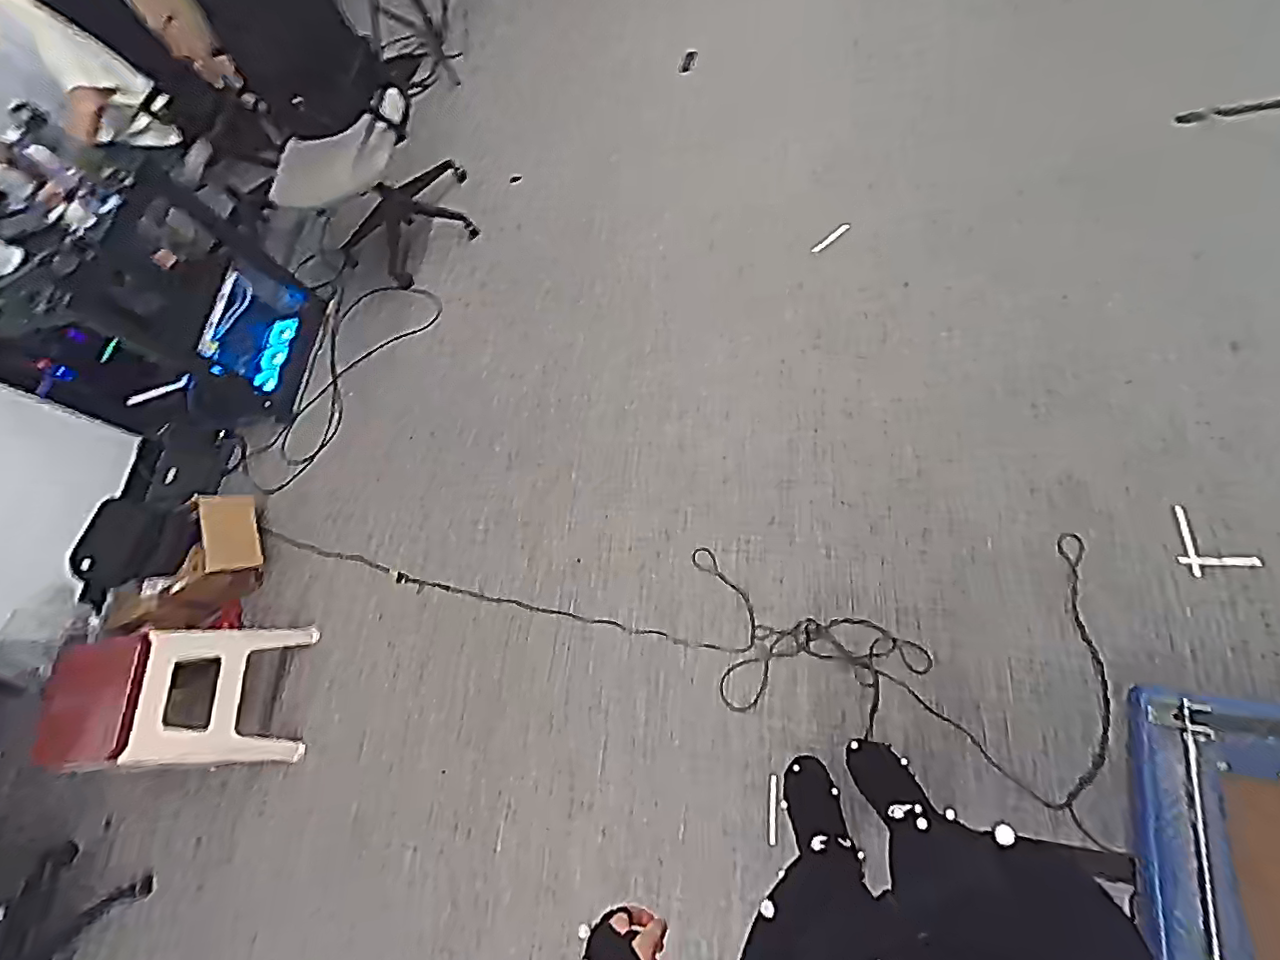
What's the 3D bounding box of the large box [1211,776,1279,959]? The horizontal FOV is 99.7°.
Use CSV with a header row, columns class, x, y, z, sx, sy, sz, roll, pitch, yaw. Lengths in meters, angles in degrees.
class,x,y,z,sx,sy,sz,roll,pitch,yaw
large box,1.039,0.630,0.668,0.320,0.320,0.408,0,70,19
